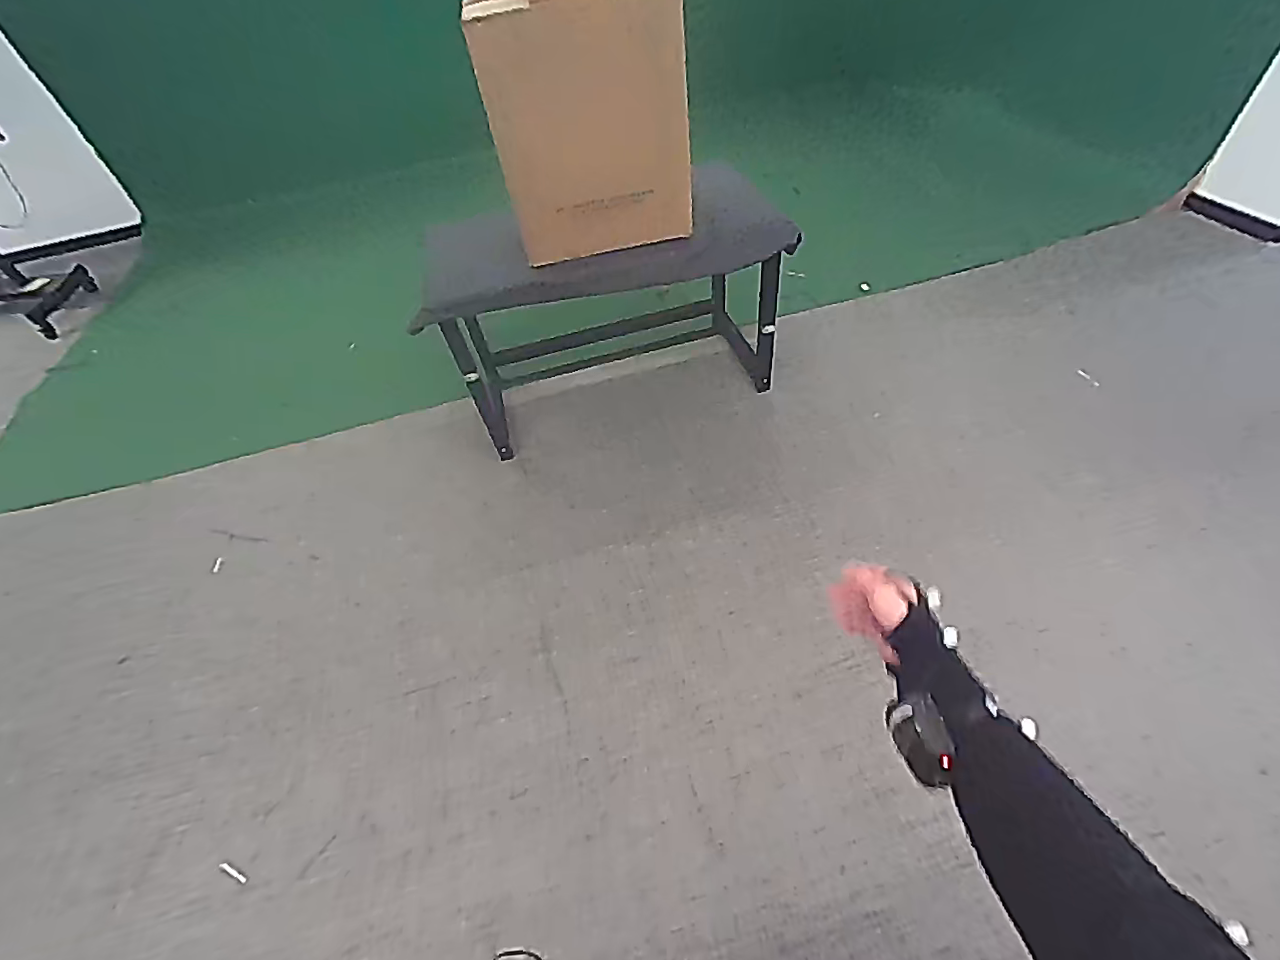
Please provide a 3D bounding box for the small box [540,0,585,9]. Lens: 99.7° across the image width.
[{"bbox_3d":[-0.173,-1.259,1.288,0.179,0.176,0.168,-14,50,-2],"label":"small box"}]
